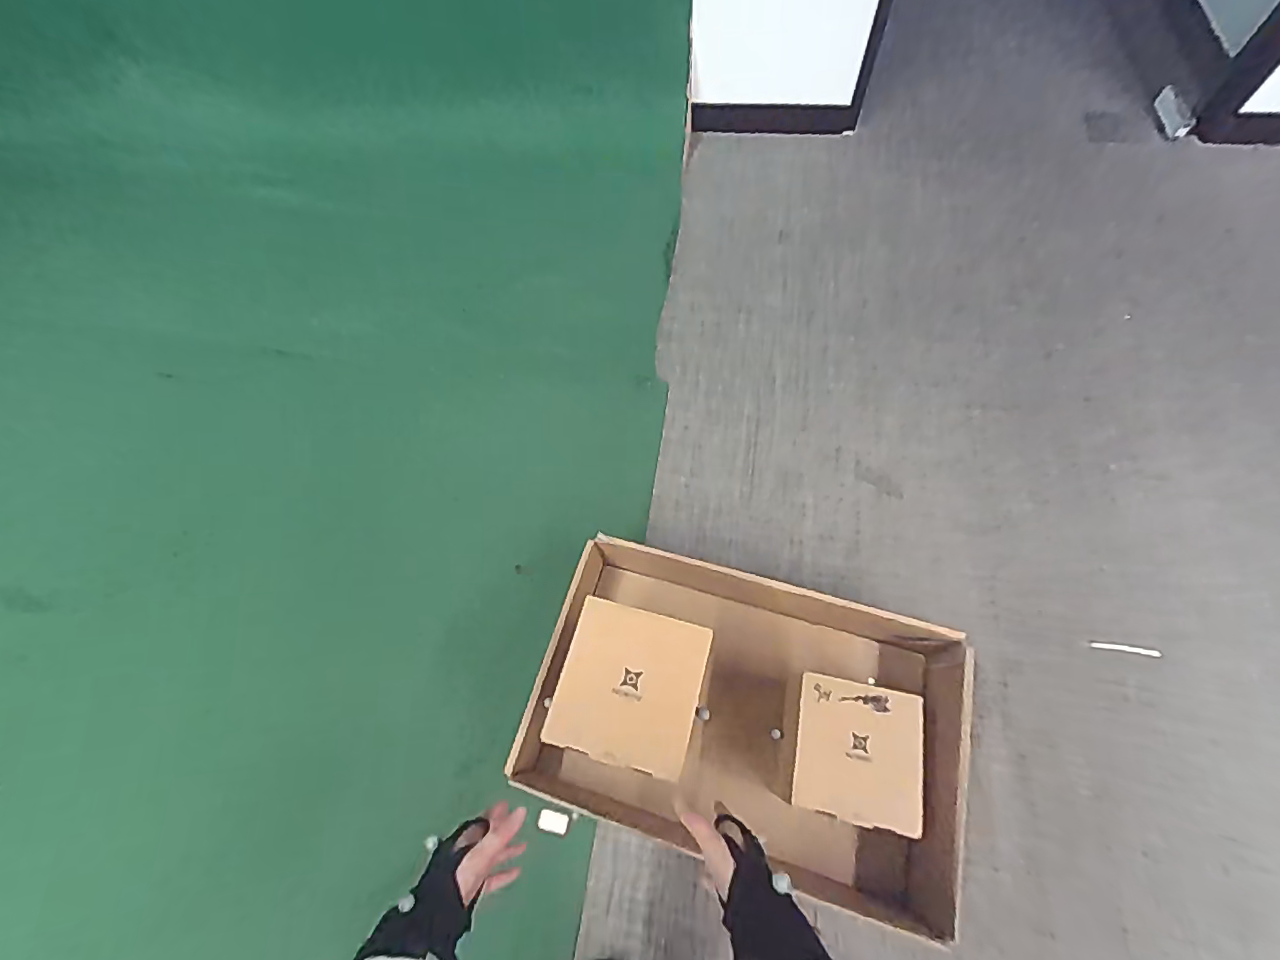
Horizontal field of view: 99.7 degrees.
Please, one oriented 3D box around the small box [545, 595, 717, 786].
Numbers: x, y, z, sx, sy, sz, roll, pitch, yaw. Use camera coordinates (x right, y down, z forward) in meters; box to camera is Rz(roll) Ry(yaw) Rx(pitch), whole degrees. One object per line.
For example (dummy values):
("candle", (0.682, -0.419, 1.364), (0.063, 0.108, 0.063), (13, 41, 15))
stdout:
("small box", (-0.005, 0.272, 0.709), (0.168, 0.176, 0.179), (14, 68, 9))
